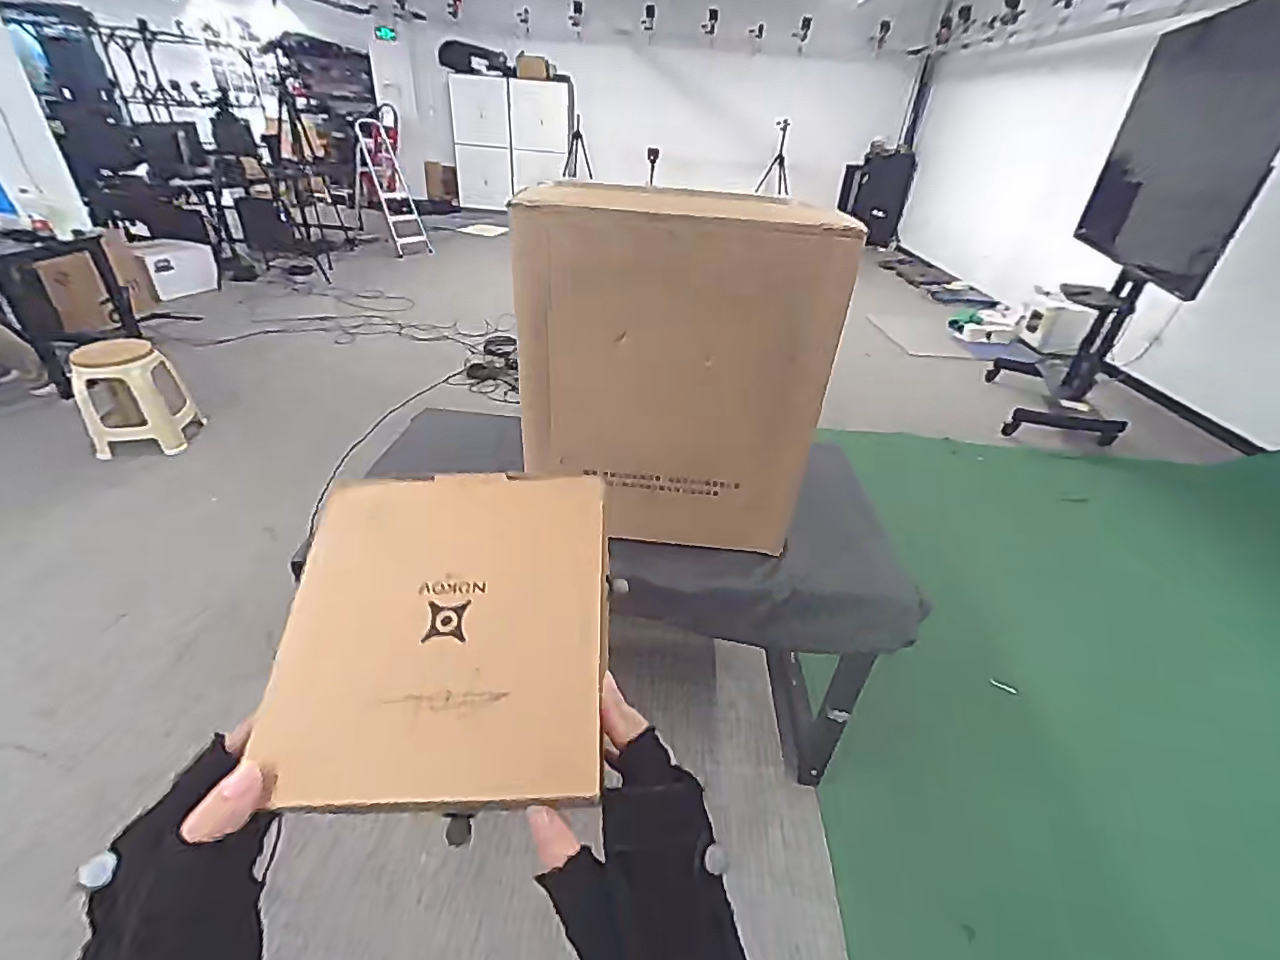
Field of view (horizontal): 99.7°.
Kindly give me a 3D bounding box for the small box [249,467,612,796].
[{"bbox_3d":[-0.105,0.108,0.364,0.168,0.176,0.179,-1,59,-1],"label":"small box"}]
